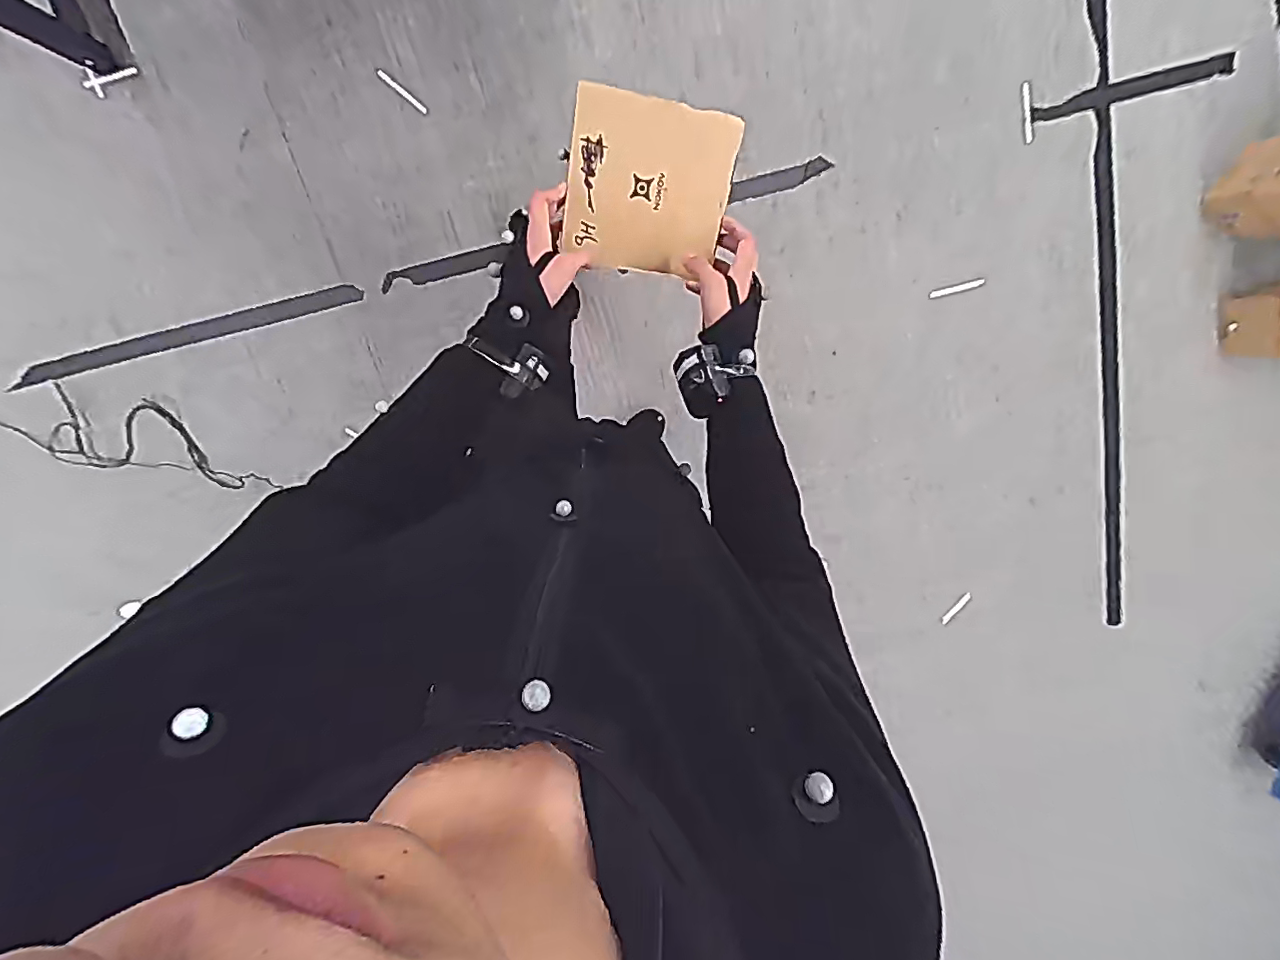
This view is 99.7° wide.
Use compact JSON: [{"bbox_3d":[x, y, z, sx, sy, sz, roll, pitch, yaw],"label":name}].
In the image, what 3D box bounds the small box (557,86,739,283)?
[{"bbox_3d":[-0.004,-0.352,0.658,0.179,0.176,0.168,6,117,-12],"label":"small box"}]
